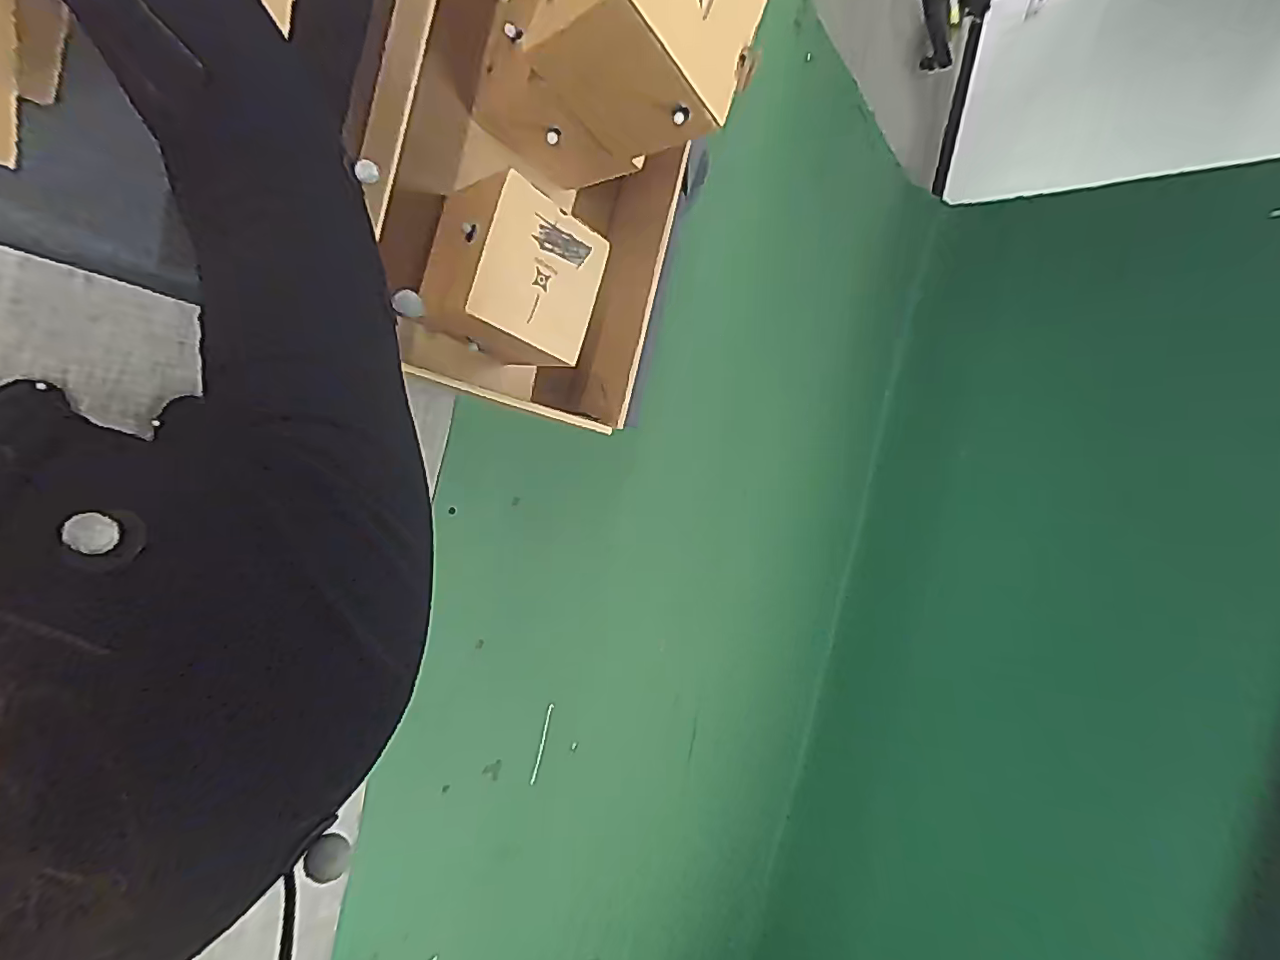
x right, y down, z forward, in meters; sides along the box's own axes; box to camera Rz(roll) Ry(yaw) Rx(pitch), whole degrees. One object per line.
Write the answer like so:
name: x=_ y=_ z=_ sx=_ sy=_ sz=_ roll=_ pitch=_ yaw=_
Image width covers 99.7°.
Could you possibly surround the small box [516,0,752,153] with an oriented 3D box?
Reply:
small box: x=-0.009 y=-0.504 z=0.604 sx=0.179 sy=0.176 sz=0.168 roll=23 pitch=85 yaw=-48
